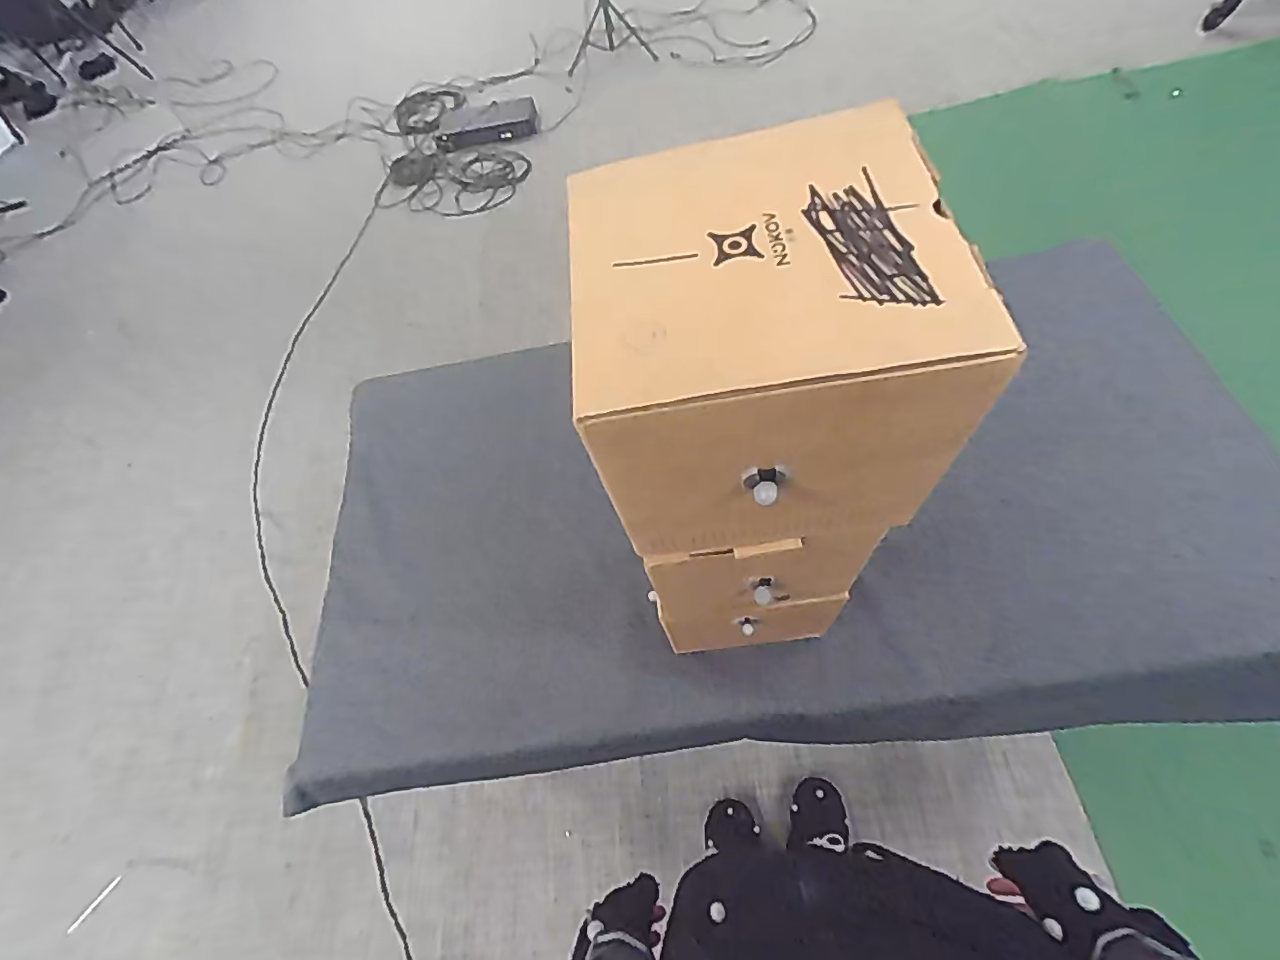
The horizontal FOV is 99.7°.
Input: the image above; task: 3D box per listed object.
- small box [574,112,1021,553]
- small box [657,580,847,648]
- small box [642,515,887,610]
[{"bbox_3d":[0.067,-0.068,0.318,0.179,0.176,0.168,-8,61,7],"label":"small box"},{"bbox_3d":[0.109,0.084,0.606,0.179,0.176,0.168,-8,62,4],"label":"small box"},{"bbox_3d":[0.086,0.005,0.465,0.168,0.176,0.179,-11,62,4],"label":"small box"}]
